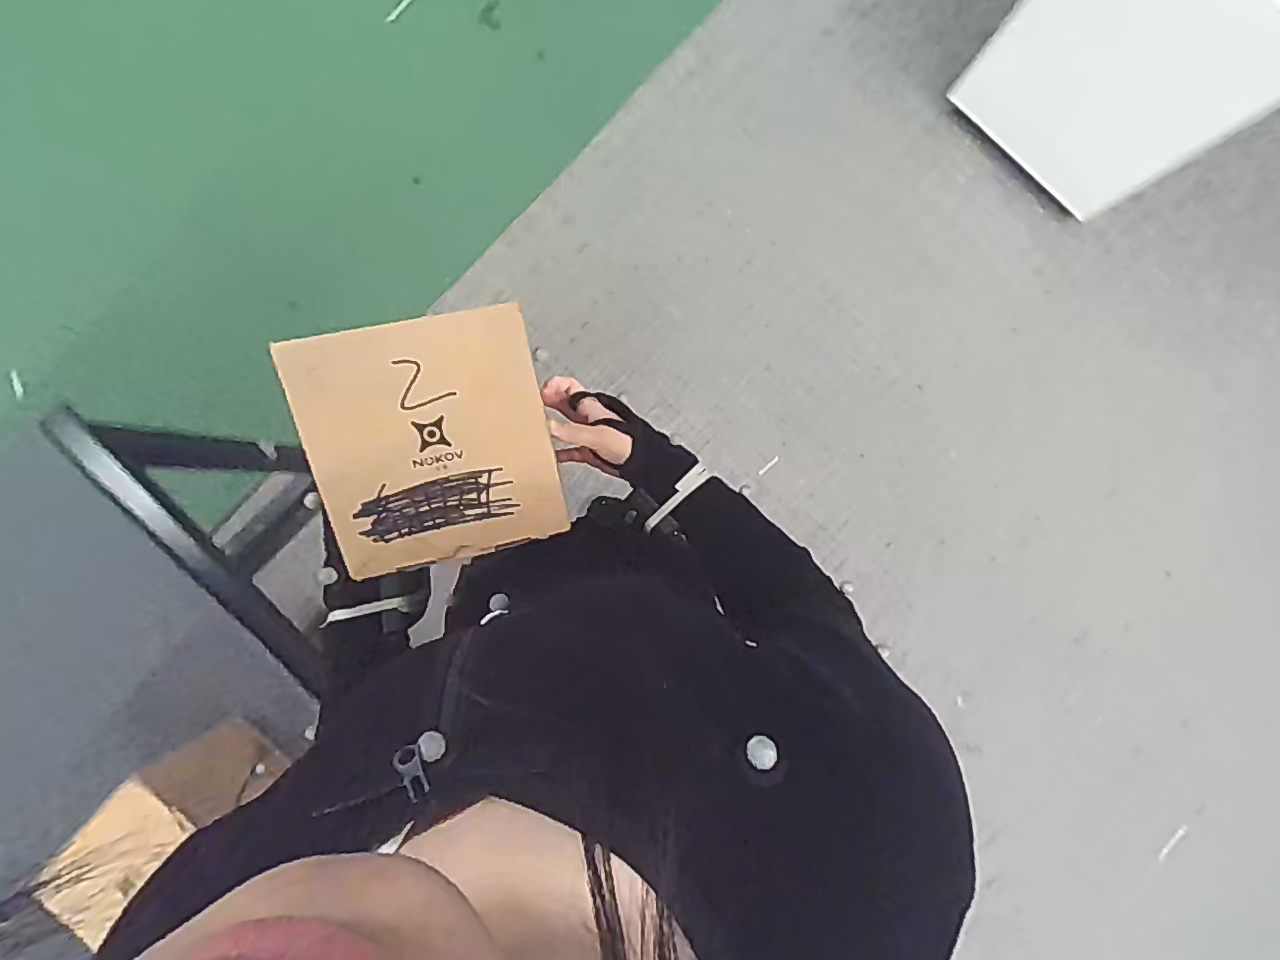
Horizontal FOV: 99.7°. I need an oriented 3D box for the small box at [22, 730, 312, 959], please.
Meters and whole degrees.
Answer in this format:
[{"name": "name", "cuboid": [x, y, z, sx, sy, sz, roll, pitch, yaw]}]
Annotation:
[{"name": "small box", "cuboid": [-0.561, 0.458, 0.670, 0.168, 0.176, 0.179, 42, 89, 0]}]
